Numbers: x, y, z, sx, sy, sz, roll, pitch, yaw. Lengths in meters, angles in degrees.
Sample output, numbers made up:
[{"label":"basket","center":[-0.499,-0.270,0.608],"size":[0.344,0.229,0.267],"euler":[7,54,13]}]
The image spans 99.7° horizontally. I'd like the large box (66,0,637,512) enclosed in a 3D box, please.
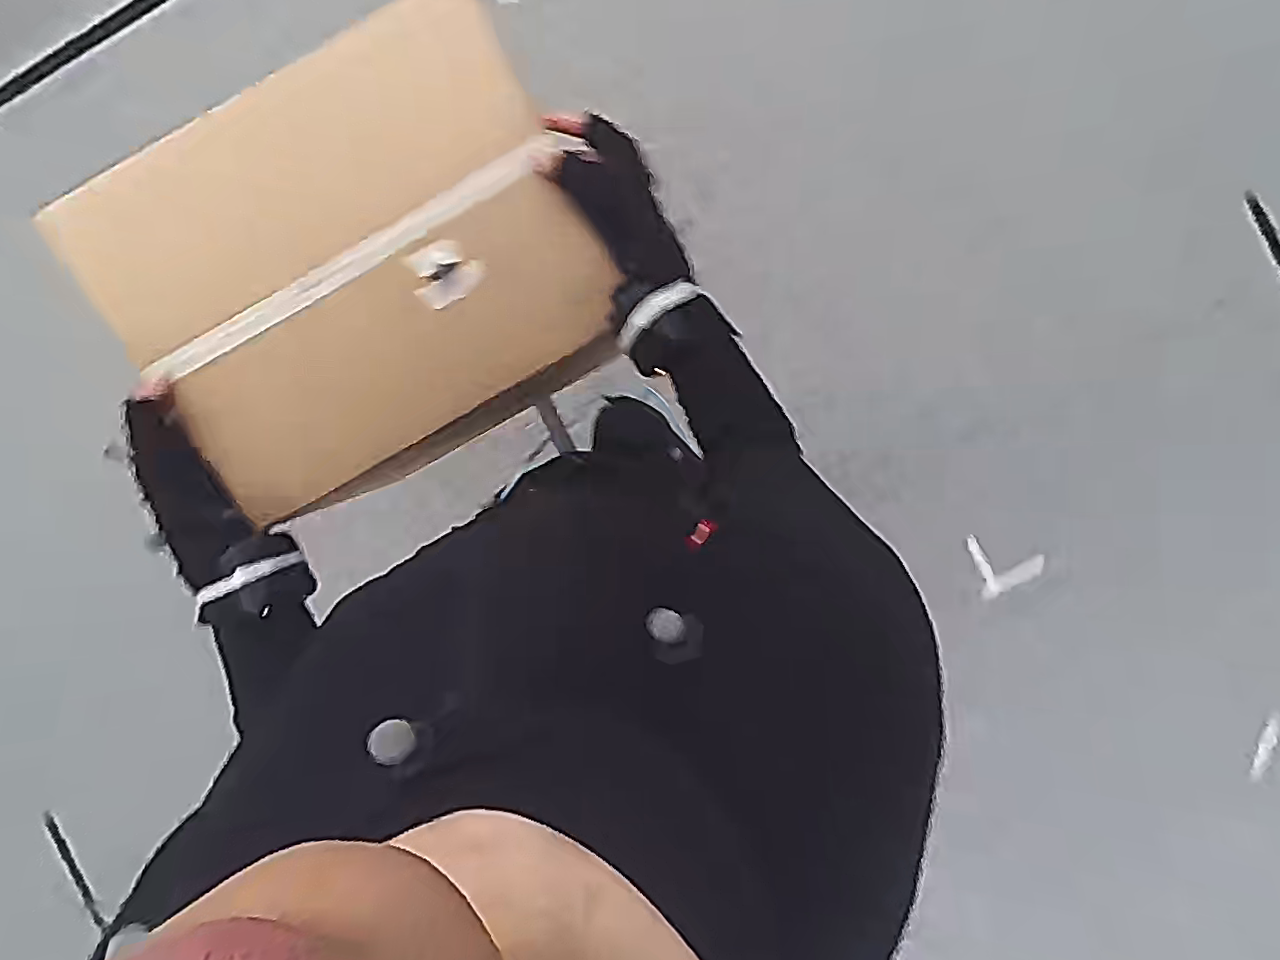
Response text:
[{"label":"large box","center":[-0.256,-0.213,0.624],"size":[0.408,0.320,0.320],"euler":[-30,99,0]}]
